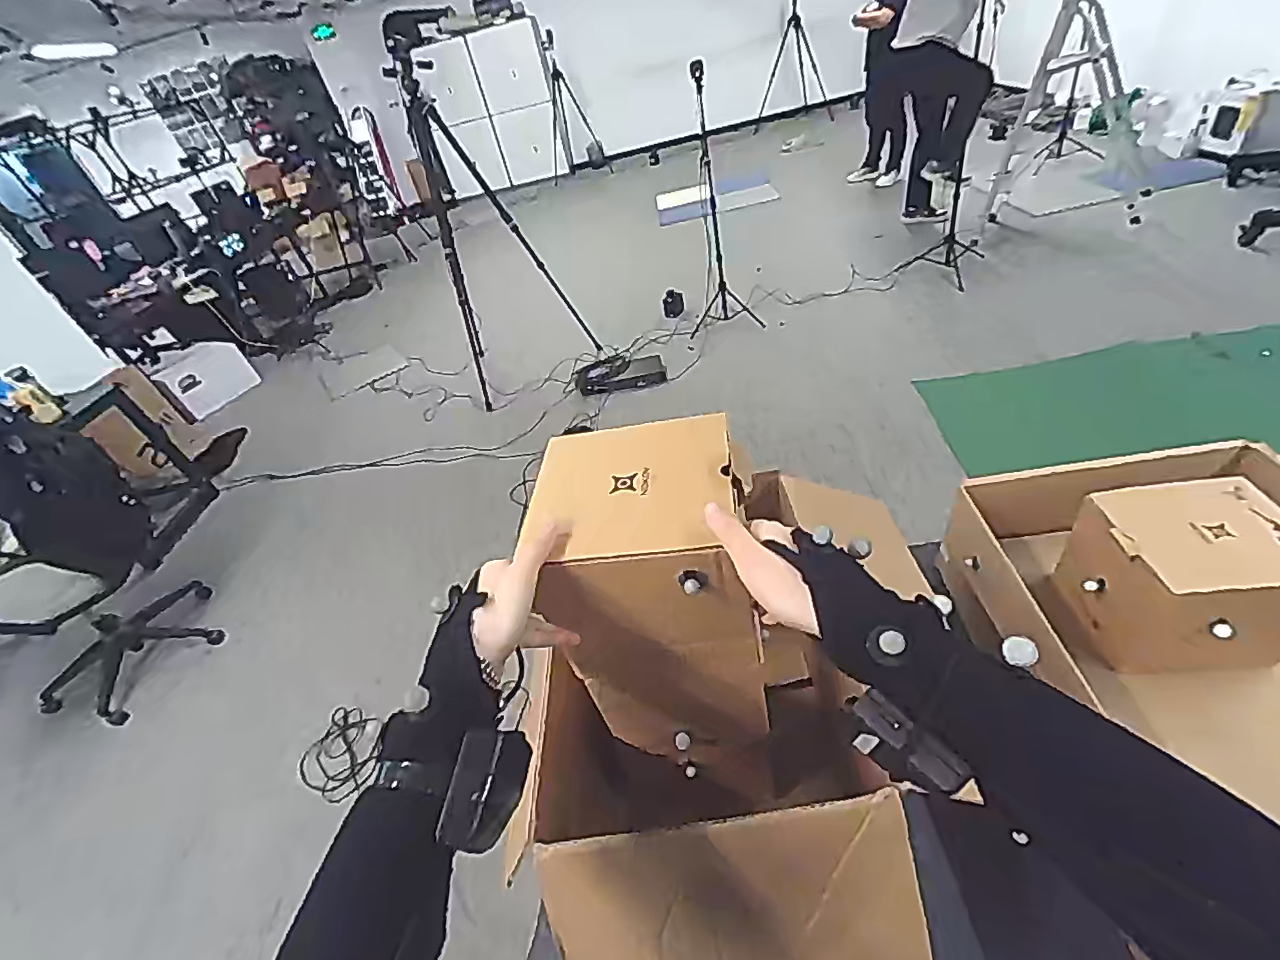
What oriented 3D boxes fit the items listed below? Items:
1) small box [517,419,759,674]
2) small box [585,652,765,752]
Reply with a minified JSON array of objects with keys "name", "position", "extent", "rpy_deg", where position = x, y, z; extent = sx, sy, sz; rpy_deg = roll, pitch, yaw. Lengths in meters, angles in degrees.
[{"name":"small box","position":[0.011,0.067,0.510],"extent":[0.179,0.176,0.168],"rpy_deg":[-7,41,10]},{"name":"small box","position":[0.047,0.184,0.615],"extent":[0.168,0.176,0.179],"rpy_deg":[-8,42,10]}]
